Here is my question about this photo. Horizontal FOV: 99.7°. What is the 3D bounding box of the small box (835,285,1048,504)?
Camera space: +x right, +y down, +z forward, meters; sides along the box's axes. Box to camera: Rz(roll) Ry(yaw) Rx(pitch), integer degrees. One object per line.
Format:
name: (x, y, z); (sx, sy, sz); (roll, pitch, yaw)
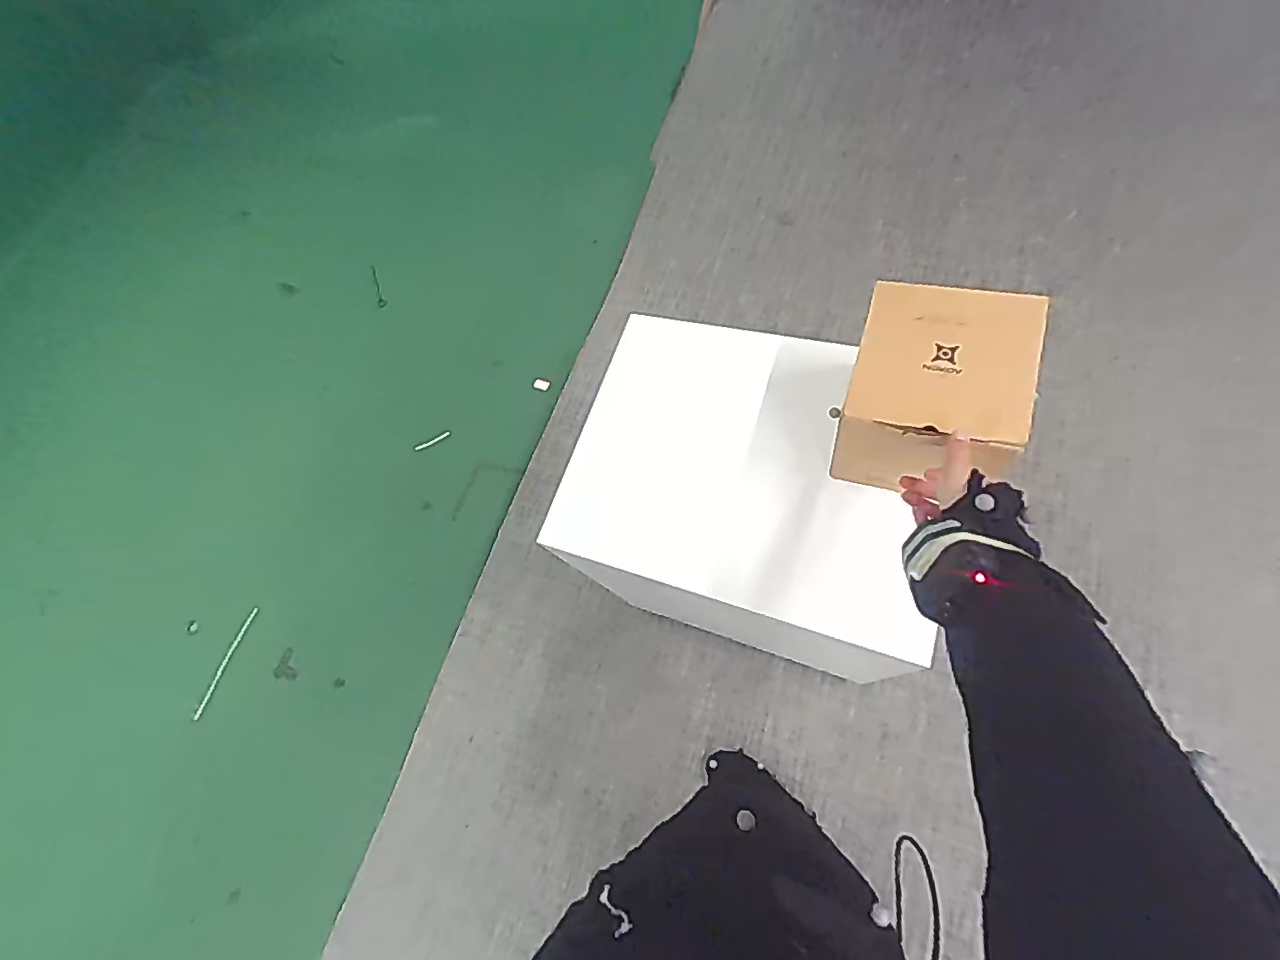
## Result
small box: (0.327, -0.090, 0.617); (0.168, 0.176, 0.179); (14, 71, 19)
